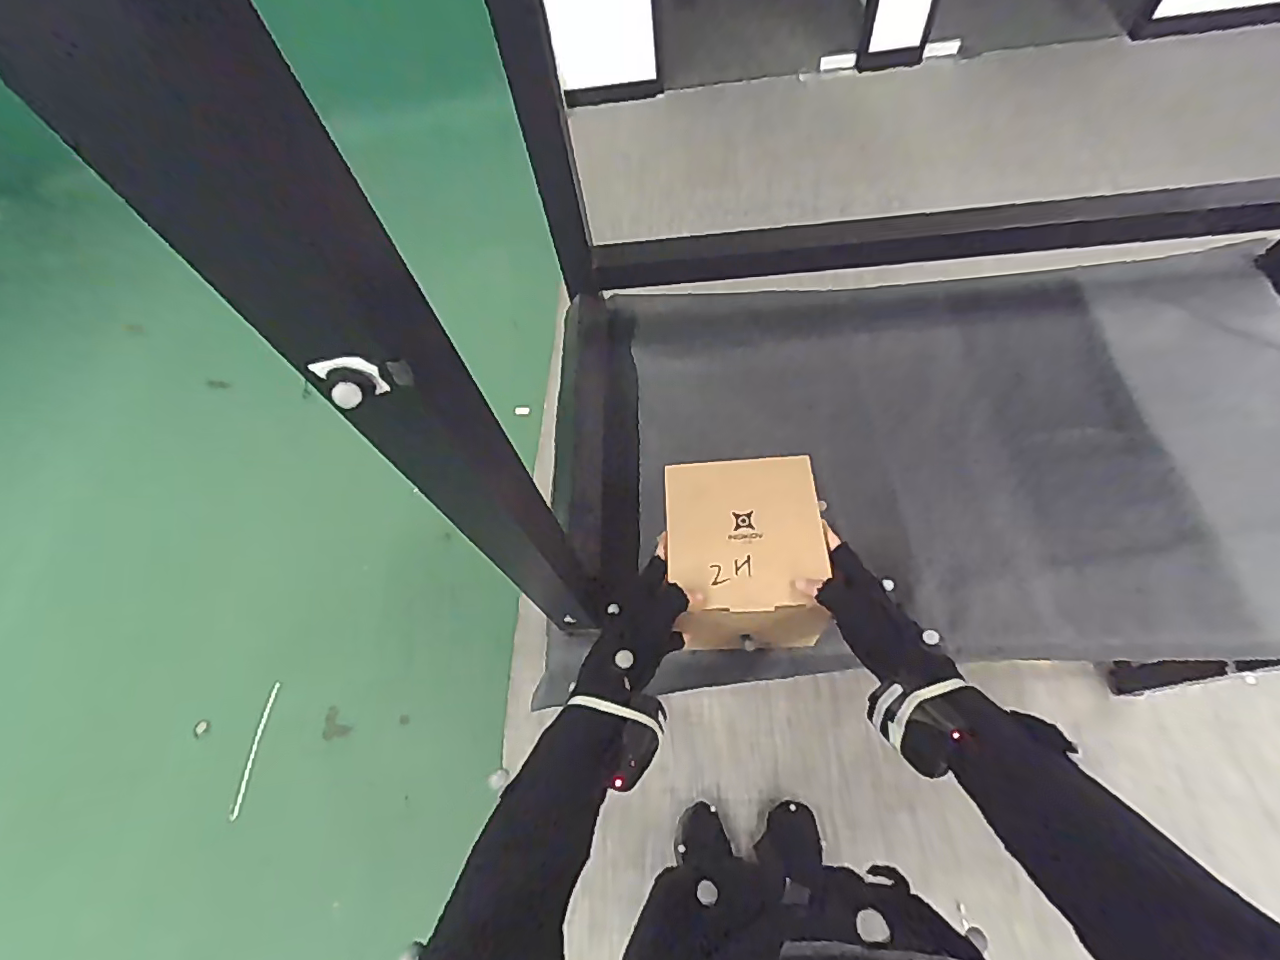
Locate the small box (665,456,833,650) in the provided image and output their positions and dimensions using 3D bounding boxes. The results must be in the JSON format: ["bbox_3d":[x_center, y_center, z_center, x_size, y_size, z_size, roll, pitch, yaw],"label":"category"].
[{"bbox_3d":[0.118,0.093,0.645,0.168,0.176,0.179,-5,59,7],"label":"small box"}]
